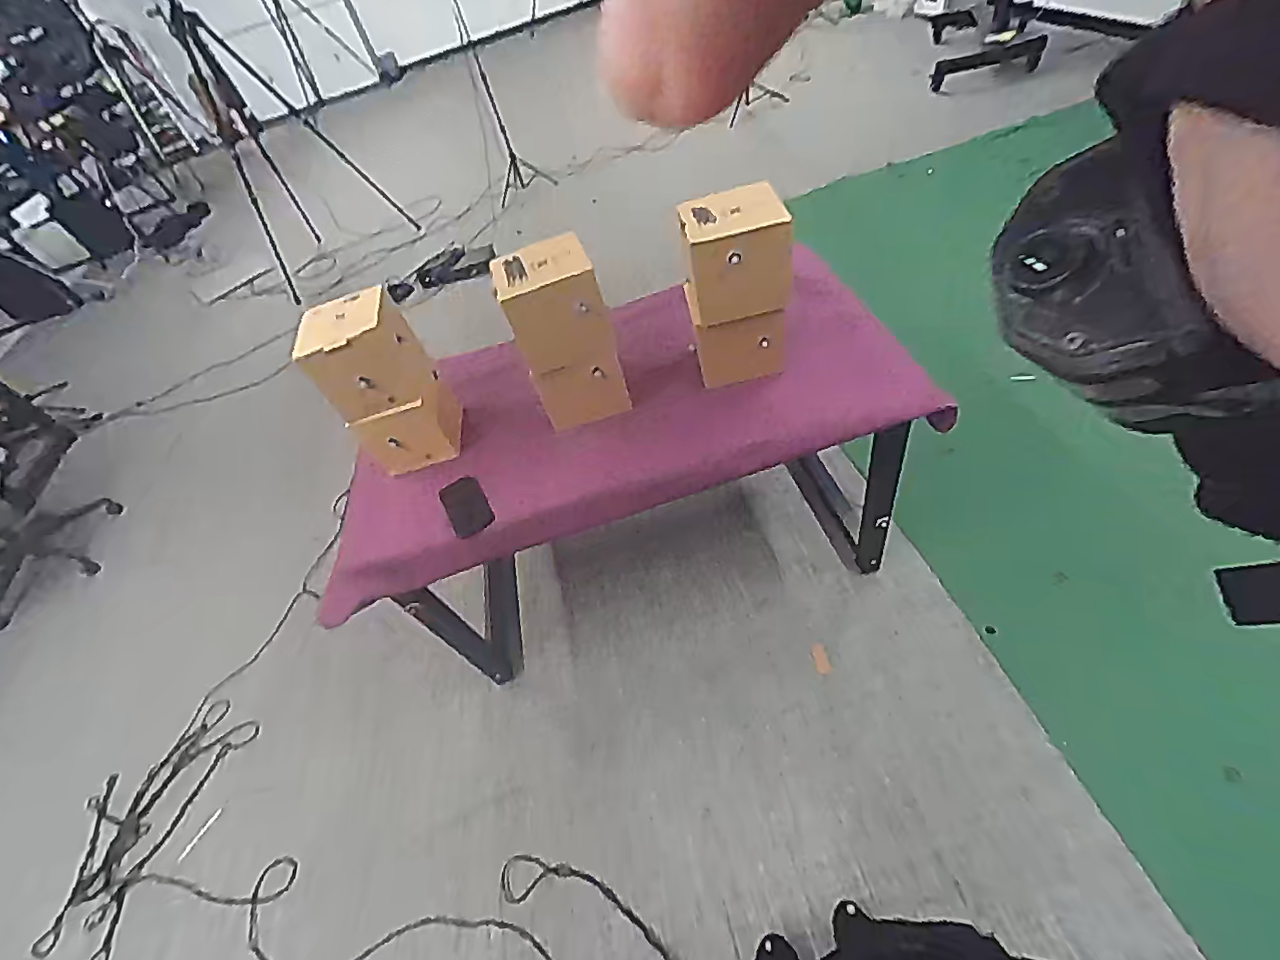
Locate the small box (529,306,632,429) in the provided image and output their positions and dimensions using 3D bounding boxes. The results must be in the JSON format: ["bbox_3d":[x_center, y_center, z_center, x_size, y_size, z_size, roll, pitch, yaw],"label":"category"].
[{"bbox_3d":[-0.123,-0.238,1.162,0.179,0.176,0.168,-17,48,3],"label":"small box"}]

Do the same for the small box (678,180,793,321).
[{"bbox_3d":[0.178,-0.419,1.004,0.179,0.176,0.168,-12,48,6],"label":"small box"}]

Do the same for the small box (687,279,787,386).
[{"bbox_3d":[0.205,-0.325,1.137,0.179,0.176,0.168,-13,48,8],"label":"small box"}]

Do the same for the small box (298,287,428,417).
[{"bbox_3d":[-0.540,-0.247,1.080,0.168,0.176,0.179,-20,49,-1],"label":"small box"}]

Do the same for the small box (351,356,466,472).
[{"bbox_3d":[-0.500,-0.138,1.197,0.168,0.176,0.179,-17,48,3],"label":"small box"}]
